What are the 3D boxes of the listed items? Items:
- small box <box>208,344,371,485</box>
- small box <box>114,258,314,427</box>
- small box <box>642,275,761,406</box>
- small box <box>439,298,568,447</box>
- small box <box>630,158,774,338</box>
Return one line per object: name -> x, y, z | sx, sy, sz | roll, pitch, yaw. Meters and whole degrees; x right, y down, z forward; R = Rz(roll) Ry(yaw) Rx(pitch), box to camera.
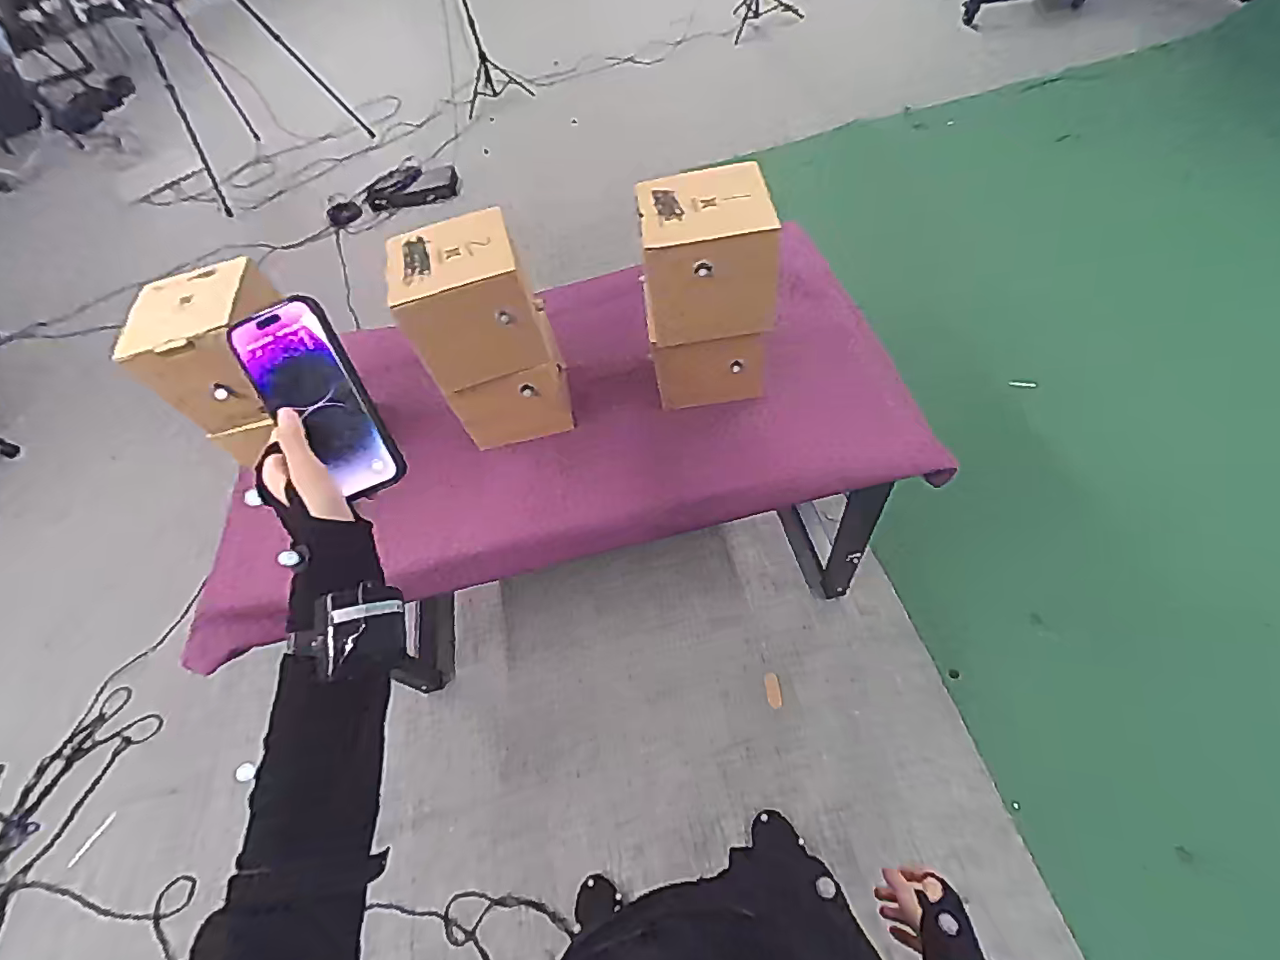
small box -> -0.612, -0.108, 0.972 | 0.168, 0.176, 0.179 | -13, 56, 2
small box -> -0.640, -0.203, 0.841 | 0.168, 0.176, 0.179 | -17, 56, -1
small box -> 0.105, -0.248, 0.927 | 0.179, 0.176, 0.168 | -8, 56, 6
small box -> -0.229, -0.182, 0.945 | 0.179, 0.176, 0.168 | -13, 56, 2
small box -> 0.089, -0.326, 0.782 | 0.179, 0.176, 0.168 | -8, 56, 5
